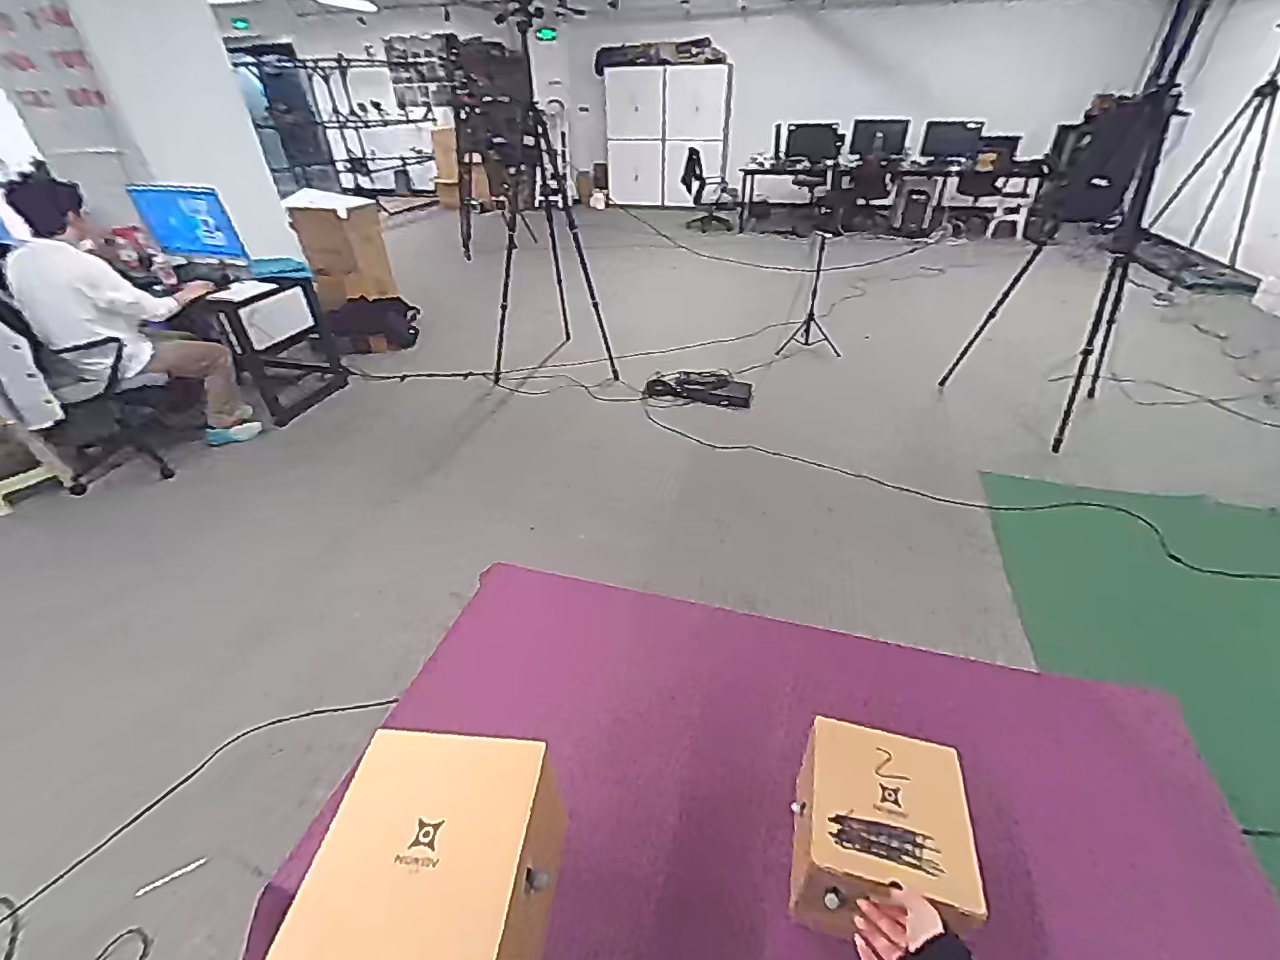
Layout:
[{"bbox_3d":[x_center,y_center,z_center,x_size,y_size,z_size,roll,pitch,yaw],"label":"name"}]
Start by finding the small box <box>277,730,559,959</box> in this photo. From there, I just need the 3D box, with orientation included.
[{"bbox_3d":[-0.175,0.362,0.499,0.168,0.176,0.179,2,39,5],"label":"small box"}]
